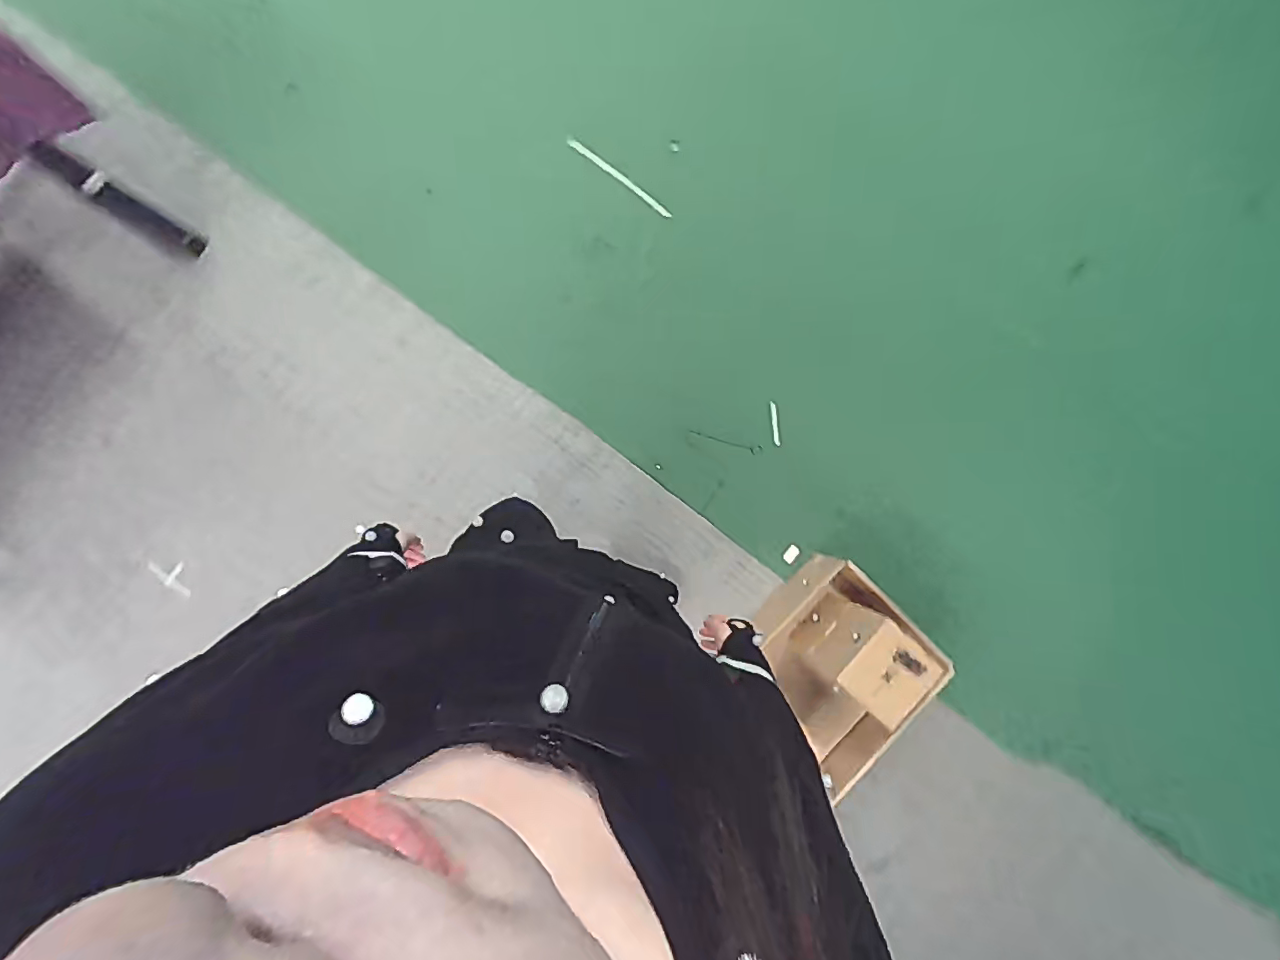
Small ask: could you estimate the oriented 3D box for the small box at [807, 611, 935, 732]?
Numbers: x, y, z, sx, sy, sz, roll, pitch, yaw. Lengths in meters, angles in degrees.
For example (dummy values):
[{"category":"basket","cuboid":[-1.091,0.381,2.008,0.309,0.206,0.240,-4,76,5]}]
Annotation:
[{"category":"small box","cuboid":[0.515,0.425,1.236,0.168,0.176,0.179,44,87,0]}]
